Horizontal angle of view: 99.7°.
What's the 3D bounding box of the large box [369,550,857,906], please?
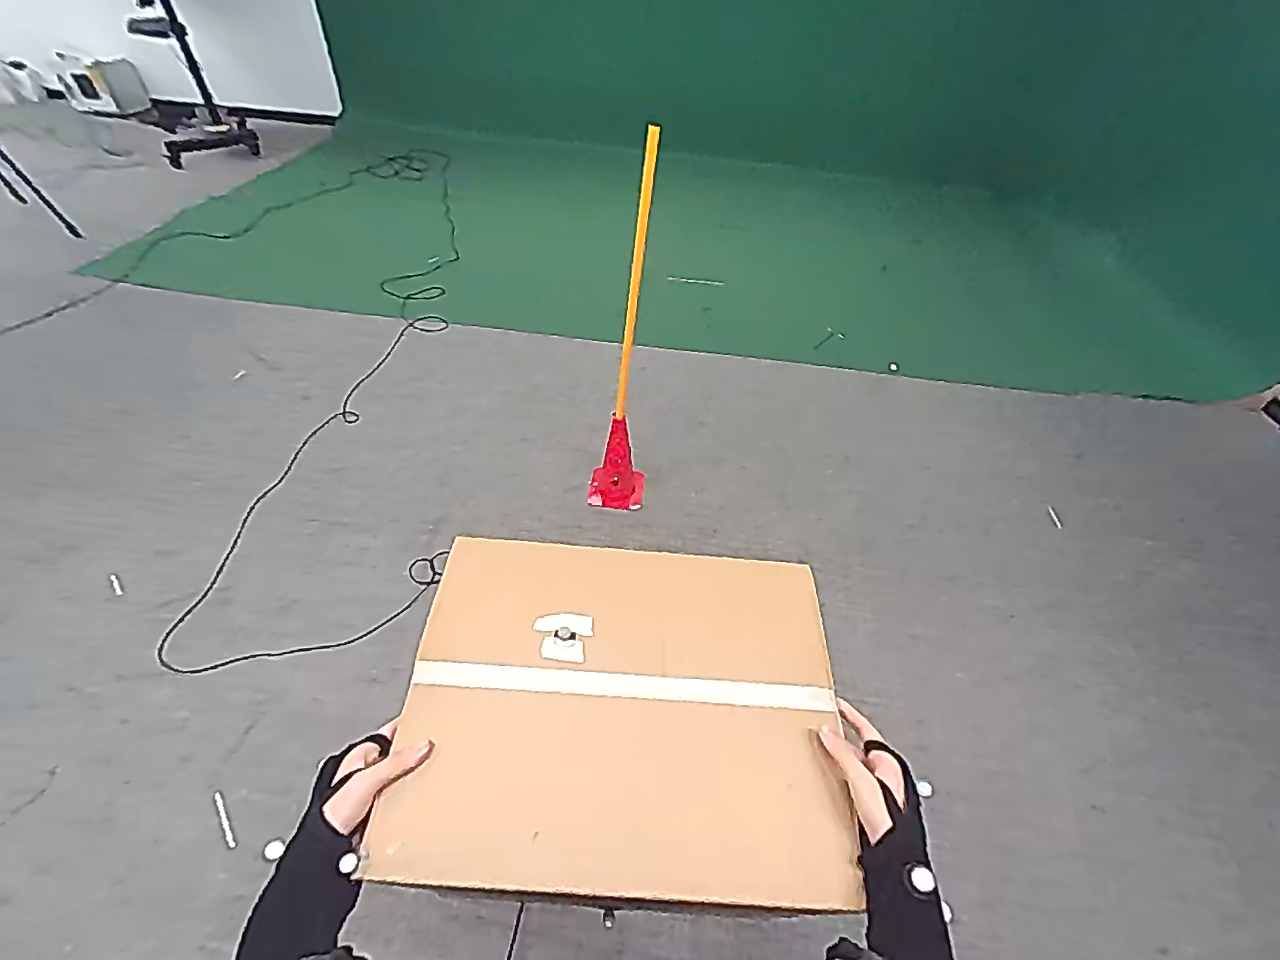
[{"bbox_3d":[-0.021,0.303,0.643,0.408,0.320,0.320,4,50,-1],"label":"large box"}]
